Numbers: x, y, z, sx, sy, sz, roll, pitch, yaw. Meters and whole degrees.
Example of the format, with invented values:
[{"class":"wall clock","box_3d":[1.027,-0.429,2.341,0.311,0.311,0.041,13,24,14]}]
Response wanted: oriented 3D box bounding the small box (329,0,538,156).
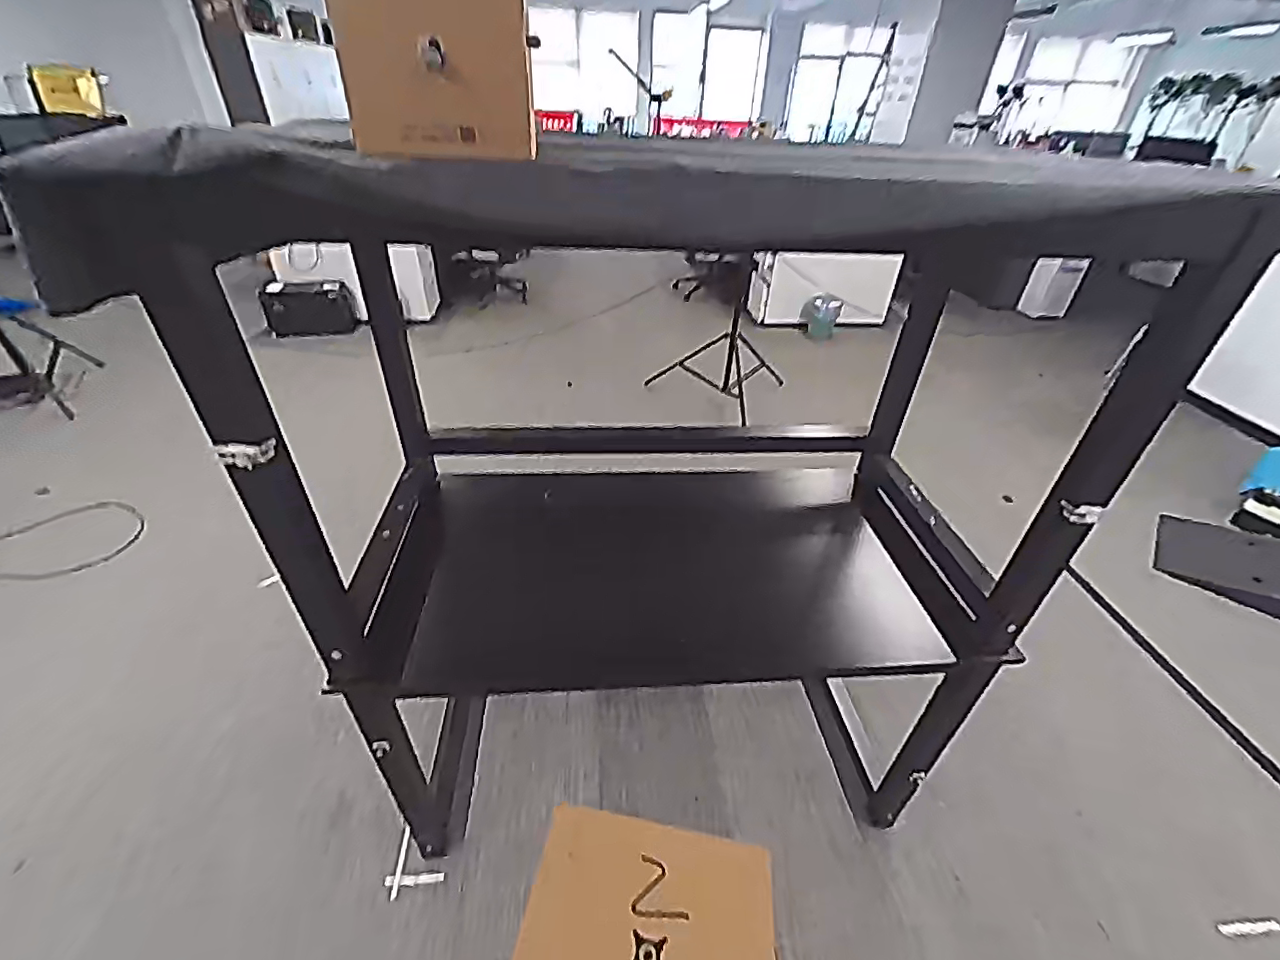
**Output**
[{"class":"small box","box_3d":[-0.190,-0.427,0.539,0.168,0.176,0.179,-3,35,-9]}]
